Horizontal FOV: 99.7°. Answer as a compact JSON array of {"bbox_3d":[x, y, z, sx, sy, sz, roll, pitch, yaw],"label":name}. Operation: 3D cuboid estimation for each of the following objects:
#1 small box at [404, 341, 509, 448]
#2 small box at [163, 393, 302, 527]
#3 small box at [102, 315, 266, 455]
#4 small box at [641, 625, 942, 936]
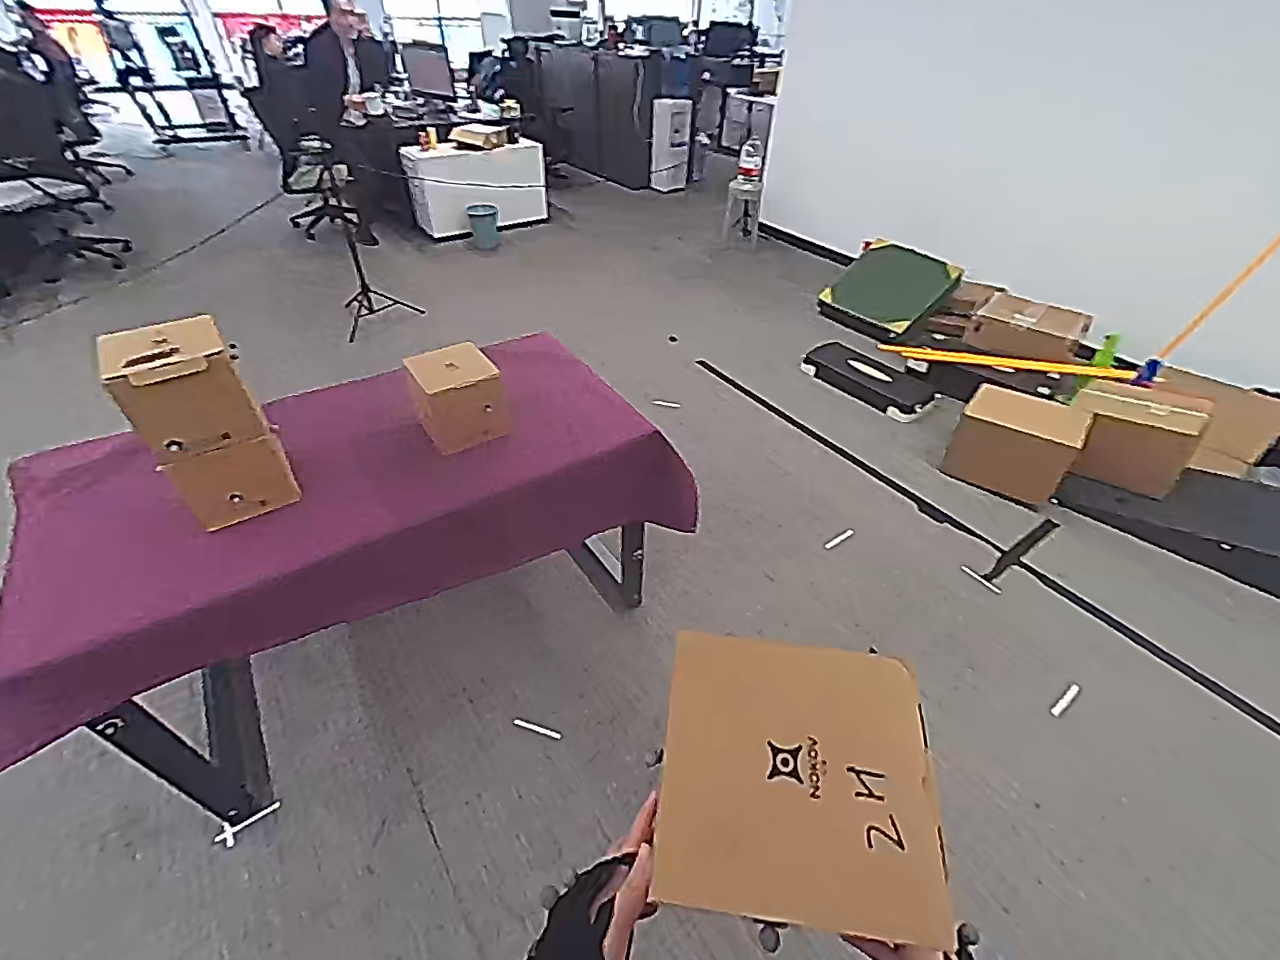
[{"bbox_3d":[-0.416,-0.191,1.244,0.168,0.176,0.179,-24,48,-27],"label":"small box"},{"bbox_3d":[-0.797,-0.040,1.061,0.168,0.176,0.179,-25,49,-27],"label":"small box"},{"bbox_3d":[-0.793,-0.162,0.951,0.168,0.176,0.179,-26,49,-28],"label":"small box"},{"bbox_3d":[0.098,0.230,0.422,0.179,0.176,0.168,6,55,5],"label":"small box"}]
